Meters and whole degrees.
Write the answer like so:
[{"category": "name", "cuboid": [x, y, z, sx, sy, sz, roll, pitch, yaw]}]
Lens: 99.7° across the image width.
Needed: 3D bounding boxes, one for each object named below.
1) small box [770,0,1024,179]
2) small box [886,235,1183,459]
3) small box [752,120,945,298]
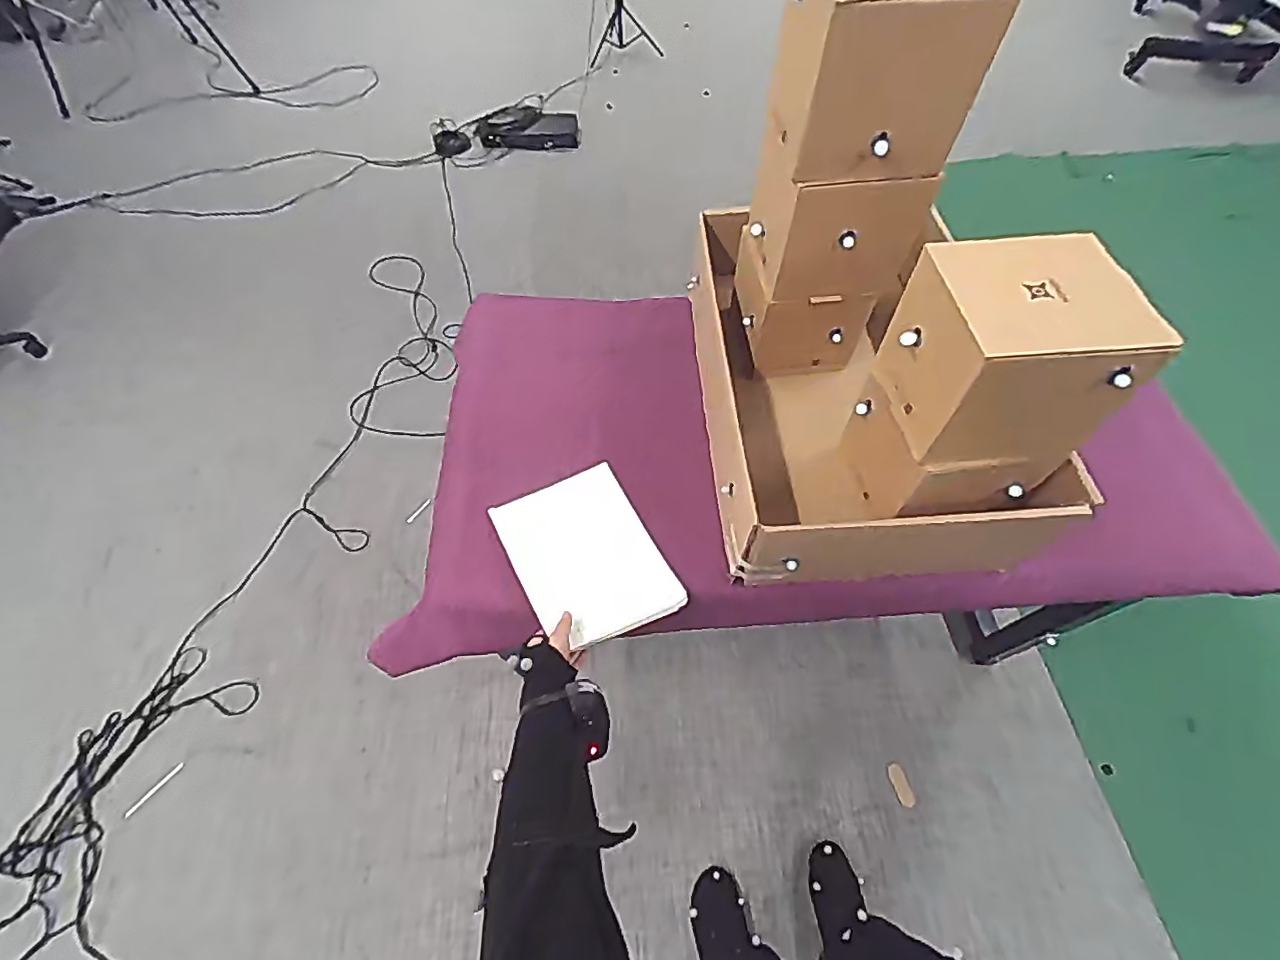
[{"category": "small box", "cuboid": [0.257, -0.456, 0.592, 0.179, 0.176, 0.168, -3, 59, -2]}, {"category": "small box", "cuboid": [0.386, -0.134, 0.579, 0.179, 0.176, 0.168, -3, 57, 0]}, {"category": "small box", "cuboid": [0.263, -0.369, 0.731, 0.179, 0.176, 0.168, -6, 59, -2]}]
